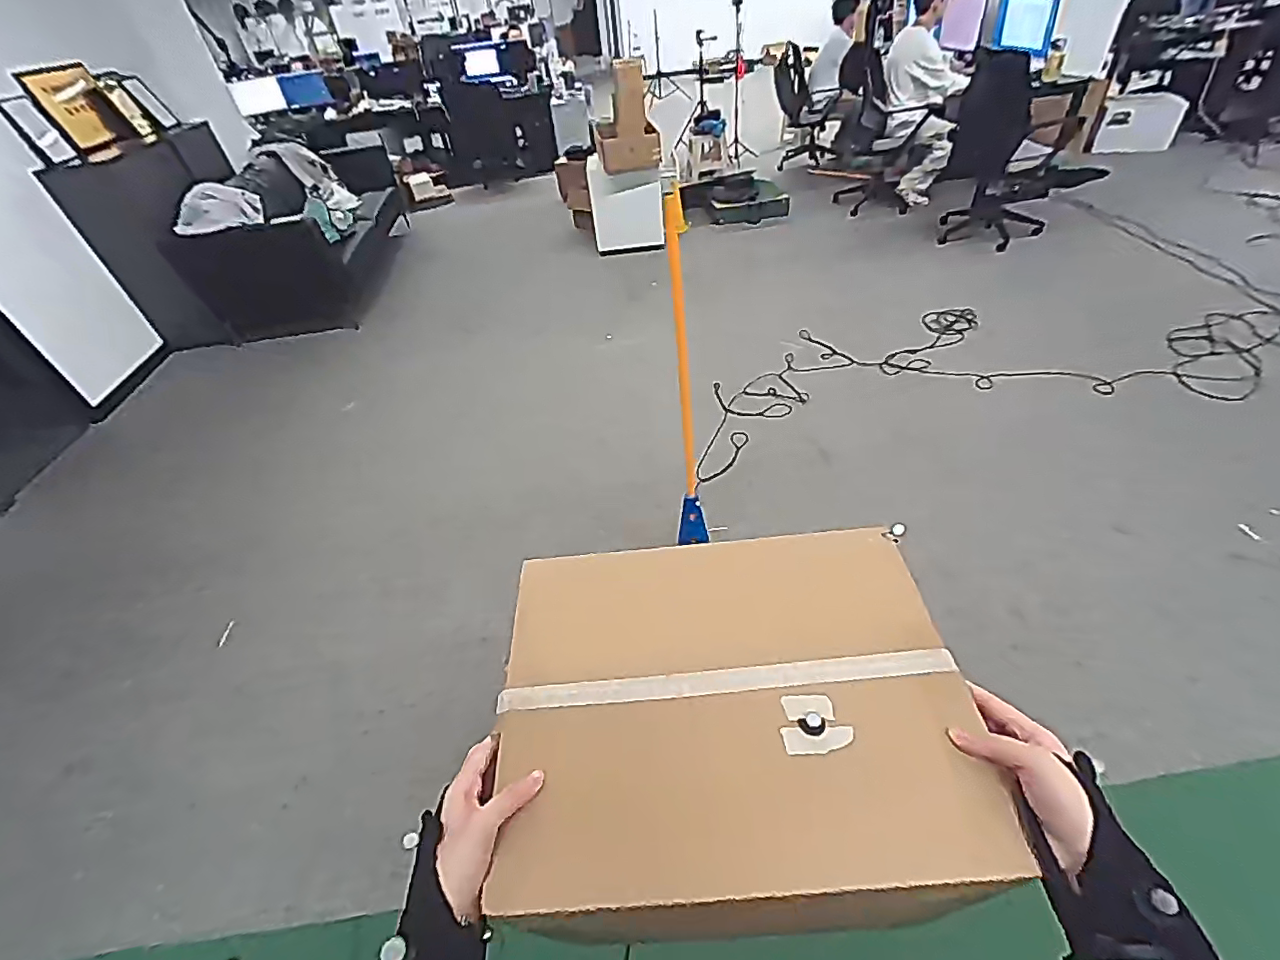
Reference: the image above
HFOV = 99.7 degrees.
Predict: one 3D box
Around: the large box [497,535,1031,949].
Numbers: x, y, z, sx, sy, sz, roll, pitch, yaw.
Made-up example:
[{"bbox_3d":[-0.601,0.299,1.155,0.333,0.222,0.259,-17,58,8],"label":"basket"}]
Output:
[{"bbox_3d":[0.091,0.292,0.603,0.408,0.320,0.320,-5,46,1],"label":"large box"}]
